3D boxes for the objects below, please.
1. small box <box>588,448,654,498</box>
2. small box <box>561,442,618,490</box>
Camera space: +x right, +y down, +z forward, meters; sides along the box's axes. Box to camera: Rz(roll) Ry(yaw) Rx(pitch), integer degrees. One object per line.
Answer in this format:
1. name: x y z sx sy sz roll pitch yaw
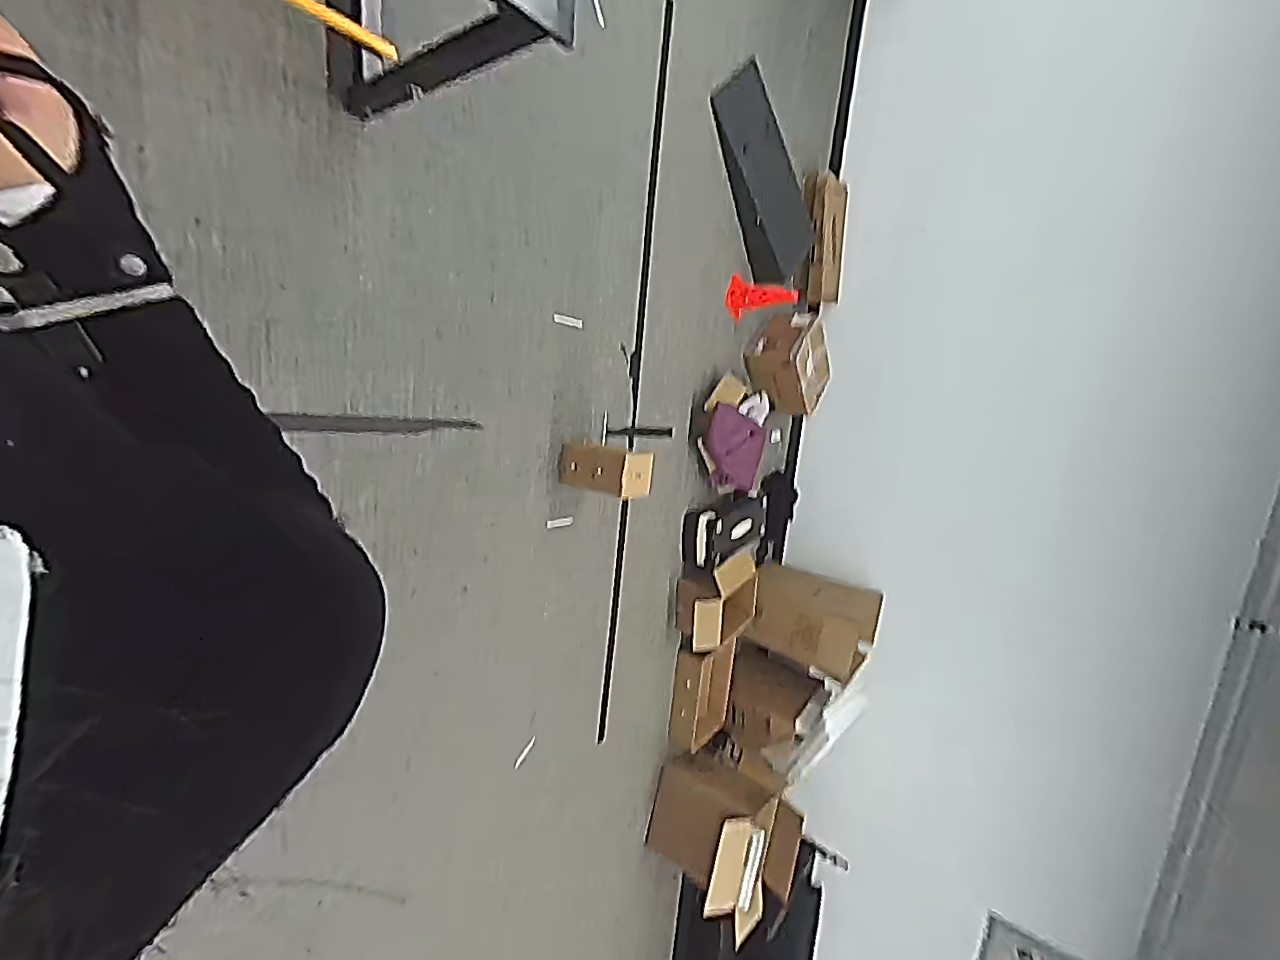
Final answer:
1. small box: -0.072 -0.030 2.075 0.179 0.176 0.168 -4 104 -52
2. small box: -0.199 -0.058 2.179 0.179 0.176 0.168 -6 106 -51
